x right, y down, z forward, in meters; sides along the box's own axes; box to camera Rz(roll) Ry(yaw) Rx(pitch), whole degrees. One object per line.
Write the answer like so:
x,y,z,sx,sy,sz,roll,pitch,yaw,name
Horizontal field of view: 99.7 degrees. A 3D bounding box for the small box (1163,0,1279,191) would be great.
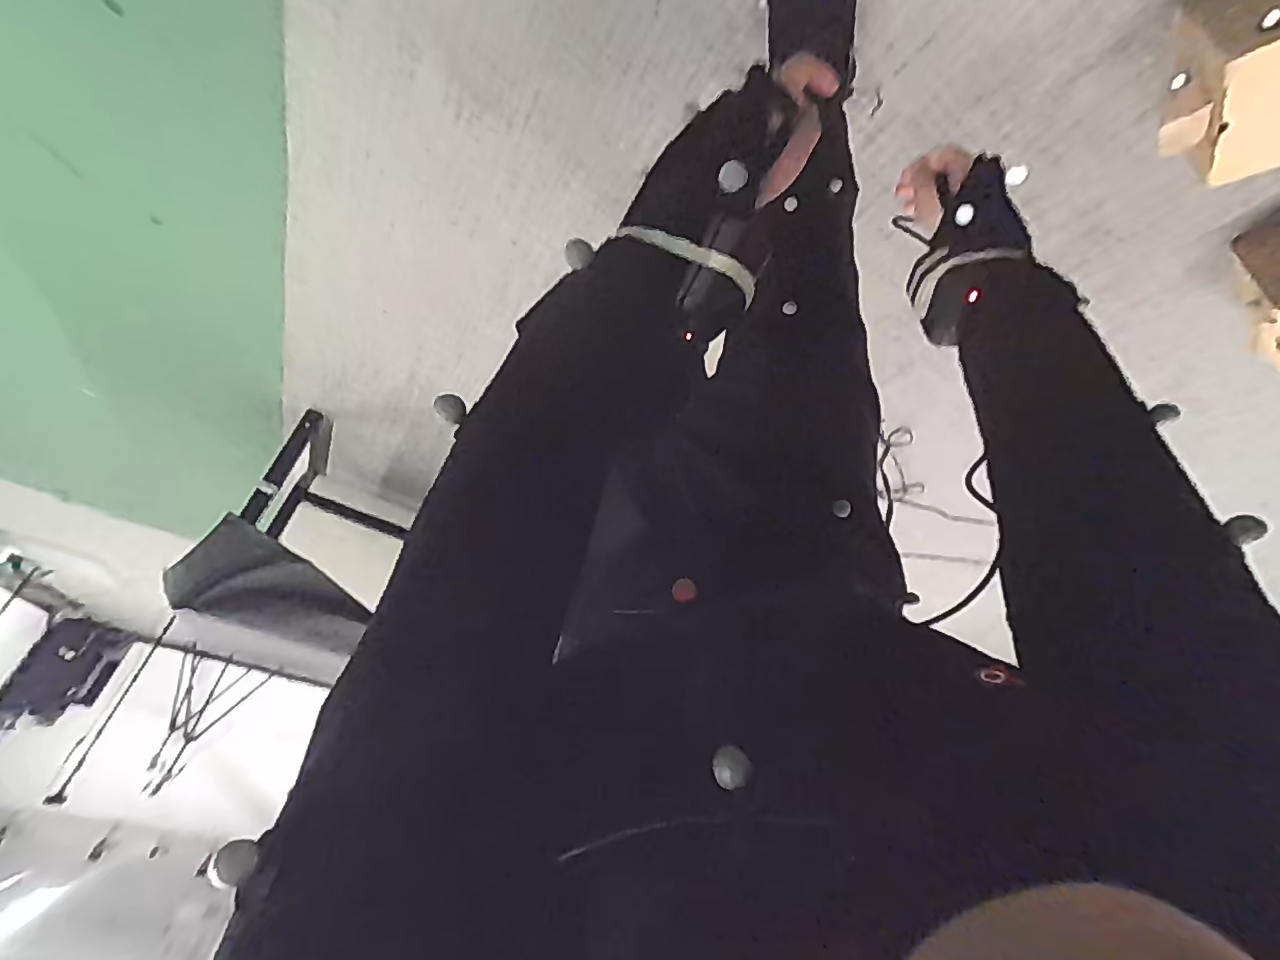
0.776,-0.498,0.645,0.179,0.176,0.168,-11,142,33,small box
